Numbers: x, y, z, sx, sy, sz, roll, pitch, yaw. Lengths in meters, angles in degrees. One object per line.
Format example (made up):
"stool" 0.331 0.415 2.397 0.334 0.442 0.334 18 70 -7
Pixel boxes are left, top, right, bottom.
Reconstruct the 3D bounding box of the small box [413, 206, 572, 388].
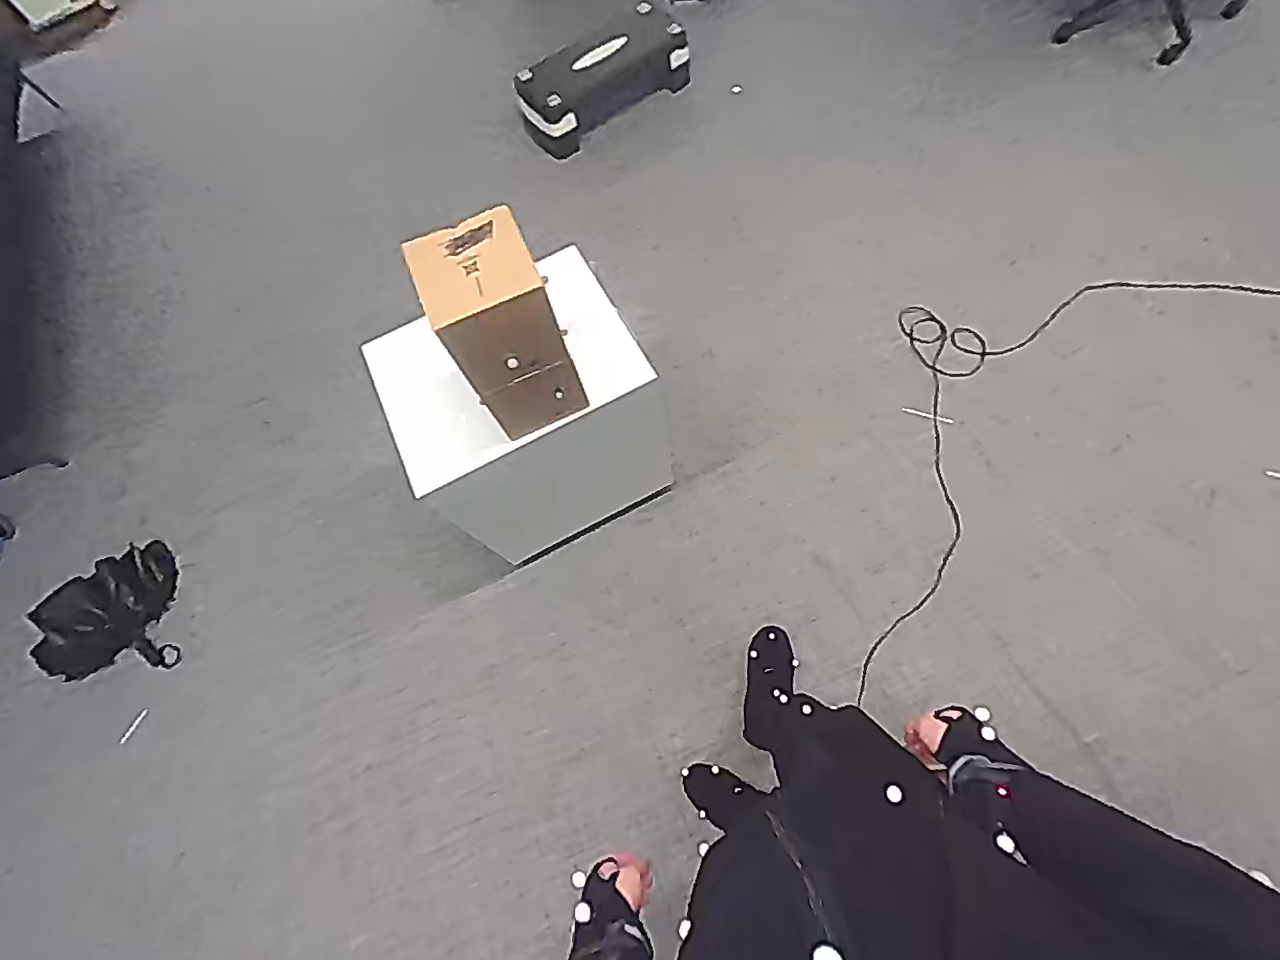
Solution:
"small box" -0.221 -0.276 0.840 0.168 0.176 0.179 -23 68 -4

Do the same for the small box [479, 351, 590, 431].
"small box" -0.205 -0.211 0.990 0.168 0.176 0.179 -24 66 -4
